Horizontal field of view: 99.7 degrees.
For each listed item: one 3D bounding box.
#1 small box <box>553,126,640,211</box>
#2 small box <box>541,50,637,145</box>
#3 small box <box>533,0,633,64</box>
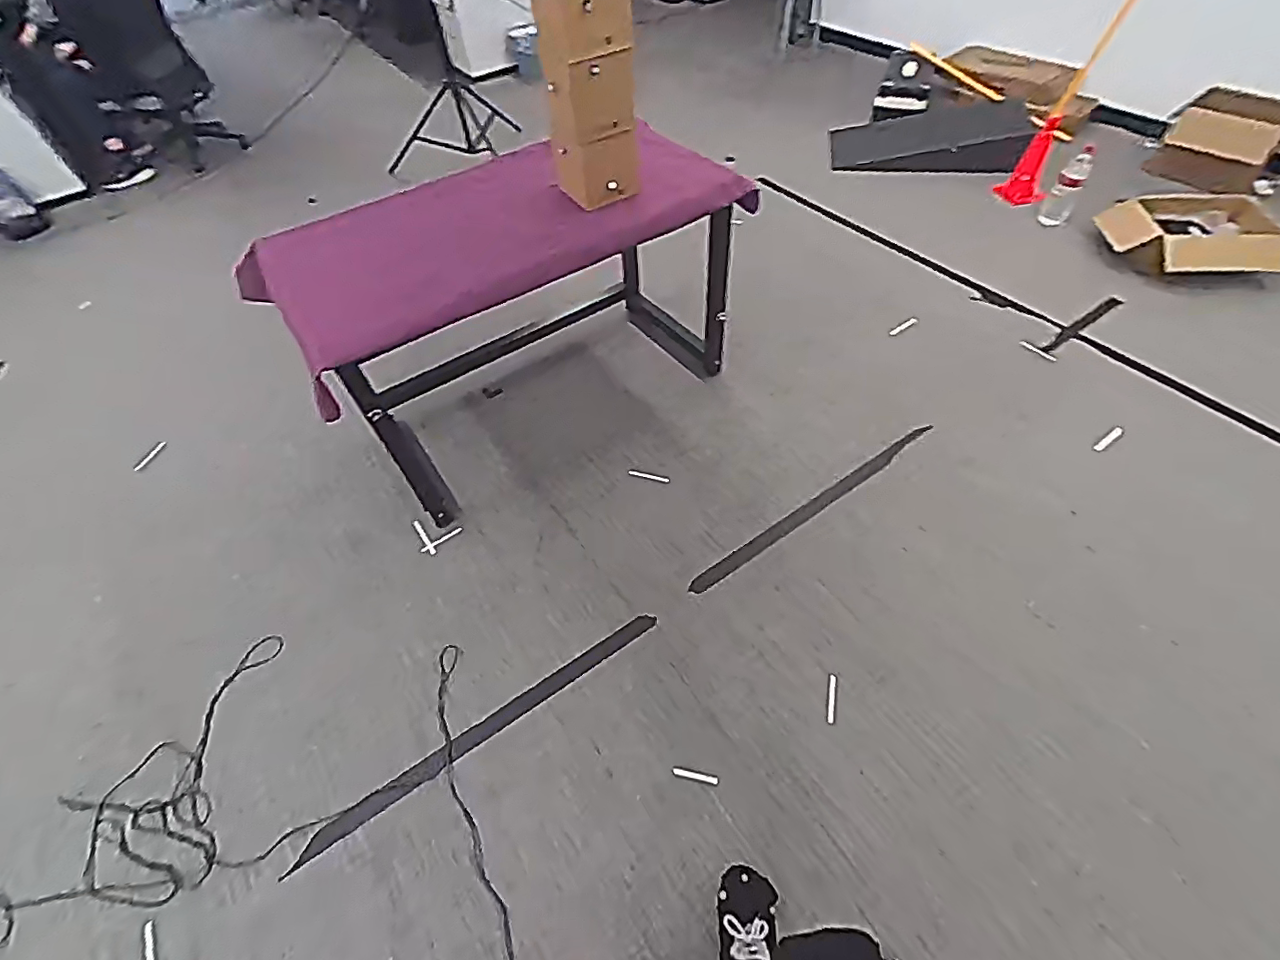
[{"bbox_3d":[-0.114,-0.858,1.461,0.168,0.176,0.179,-29,57,-15],"label":"small box"},{"bbox_3d":[-0.121,-0.952,1.327,0.168,0.176,0.179,-27,55,-14],"label":"small box"},{"bbox_3d":[-0.127,-1.045,1.193,0.168,0.176,0.179,-27,56,-14],"label":"small box"}]
